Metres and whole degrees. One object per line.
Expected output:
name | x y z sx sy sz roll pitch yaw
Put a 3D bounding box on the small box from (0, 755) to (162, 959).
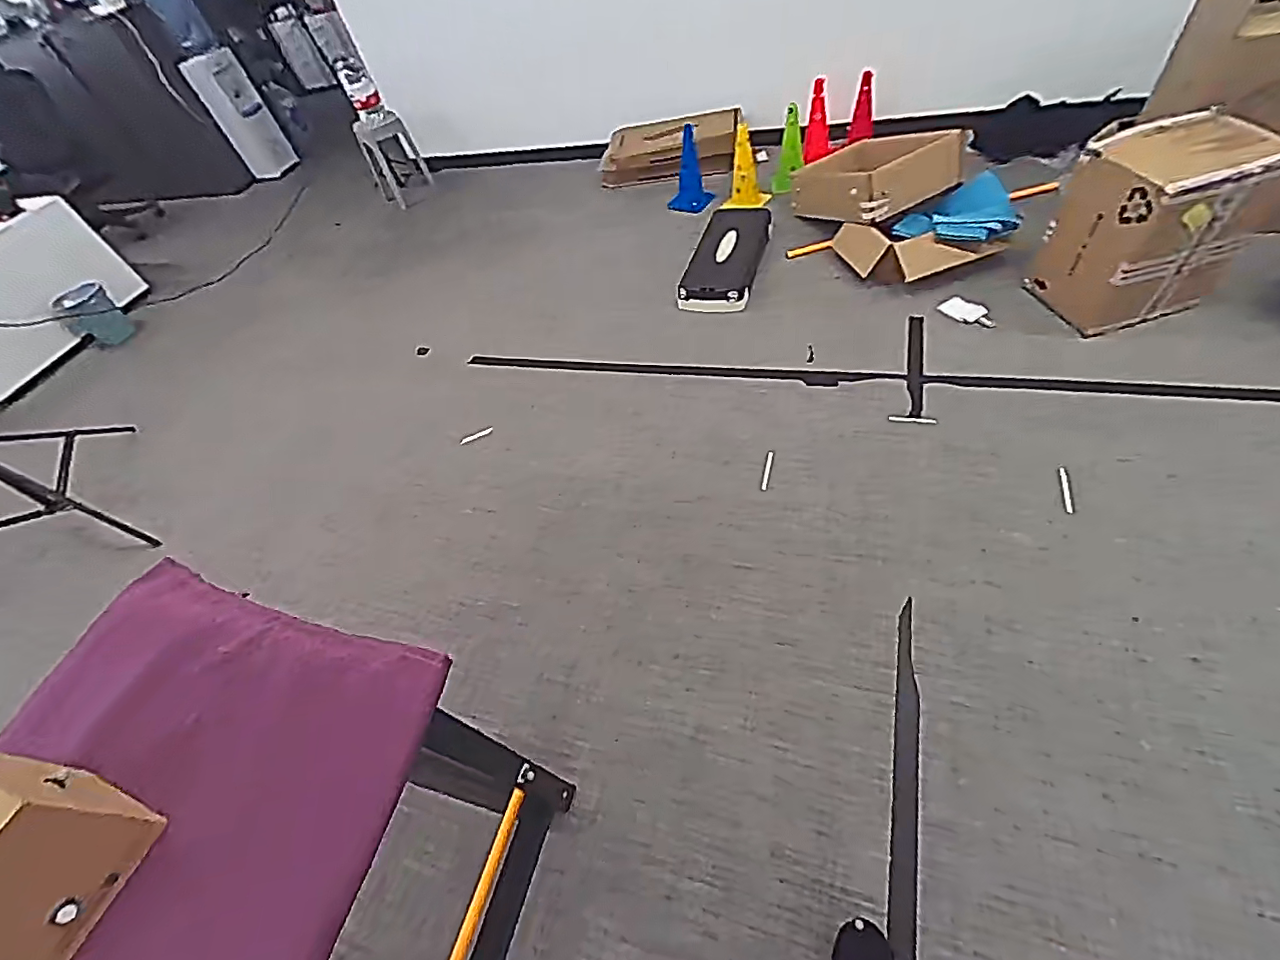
small box | -0.679 0.406 0.565 0.179 0.176 0.168 11 56 20
